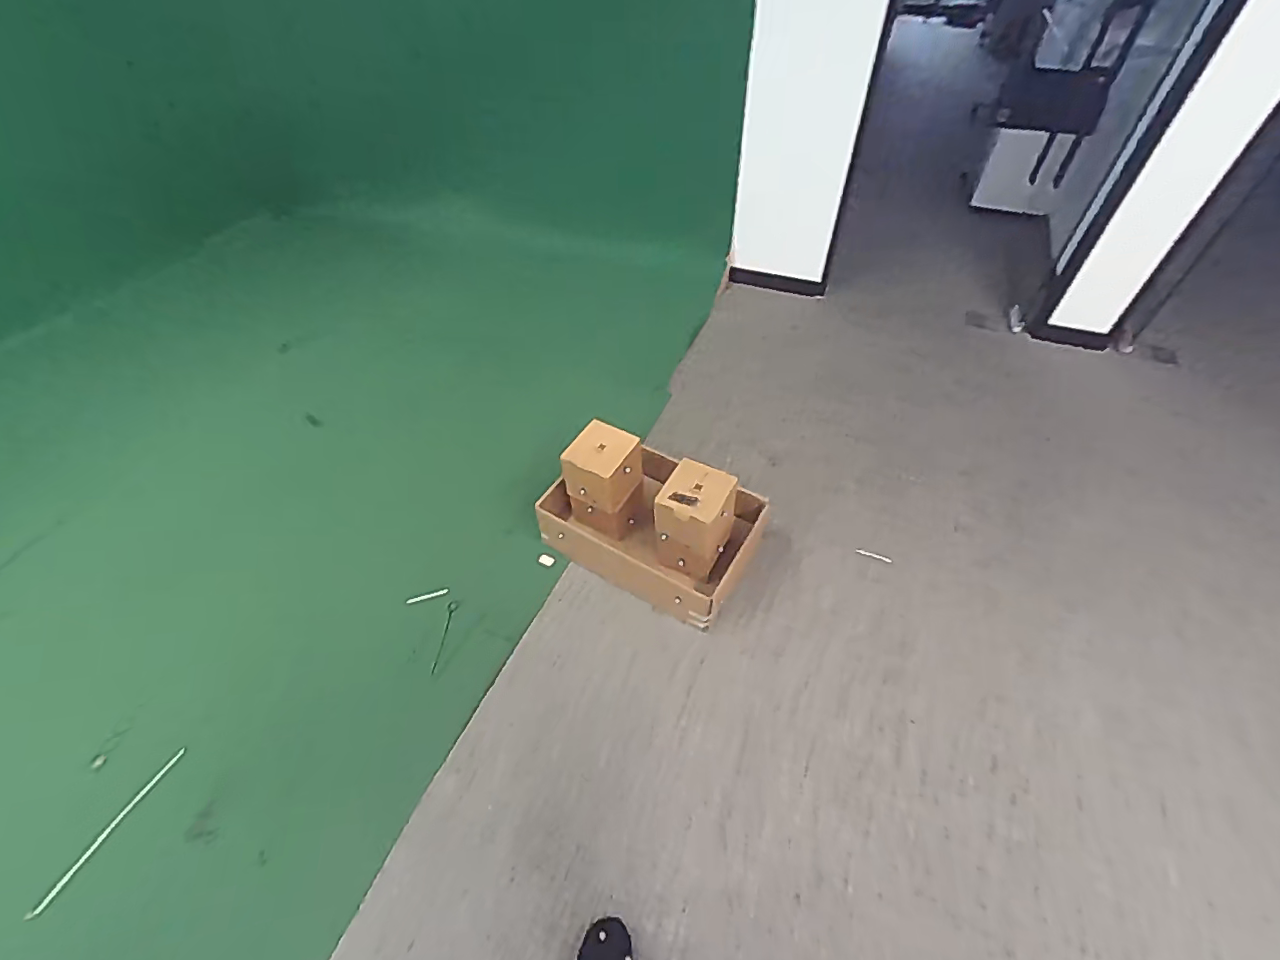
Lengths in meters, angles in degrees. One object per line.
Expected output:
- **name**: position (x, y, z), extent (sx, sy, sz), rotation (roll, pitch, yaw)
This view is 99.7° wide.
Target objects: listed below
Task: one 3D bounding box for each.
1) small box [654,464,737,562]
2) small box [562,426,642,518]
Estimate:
- **small box**: position (0.152, 0.094, 1.483), extent (0.168, 0.176, 0.179), rotation (23, 54, 21)
- **small box**: position (-0.108, -0.023, 1.597), extent (0.168, 0.176, 0.179), rotation (25, 56, 20)
